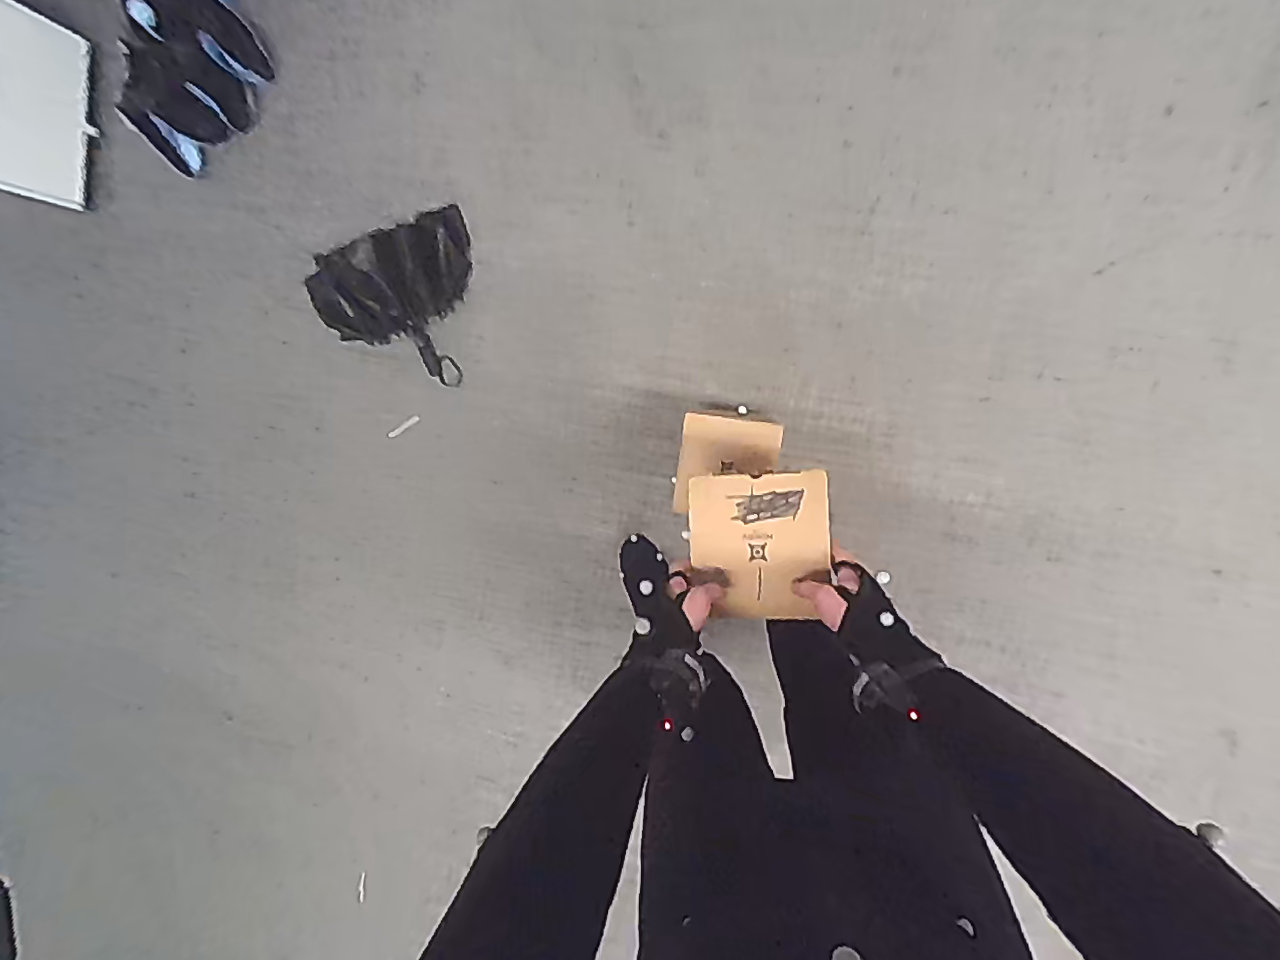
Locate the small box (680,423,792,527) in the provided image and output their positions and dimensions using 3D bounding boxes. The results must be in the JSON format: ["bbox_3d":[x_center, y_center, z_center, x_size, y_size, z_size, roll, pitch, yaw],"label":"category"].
[{"bbox_3d":[0.174,-0.007,0.976,0.168,0.176,0.179,8,97,10],"label":"small box"}]

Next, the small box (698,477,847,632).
[{"bbox_3d":[0.165,0.094,0.702,0.168,0.176,0.179,-3,85,12],"label":"small box"}]
